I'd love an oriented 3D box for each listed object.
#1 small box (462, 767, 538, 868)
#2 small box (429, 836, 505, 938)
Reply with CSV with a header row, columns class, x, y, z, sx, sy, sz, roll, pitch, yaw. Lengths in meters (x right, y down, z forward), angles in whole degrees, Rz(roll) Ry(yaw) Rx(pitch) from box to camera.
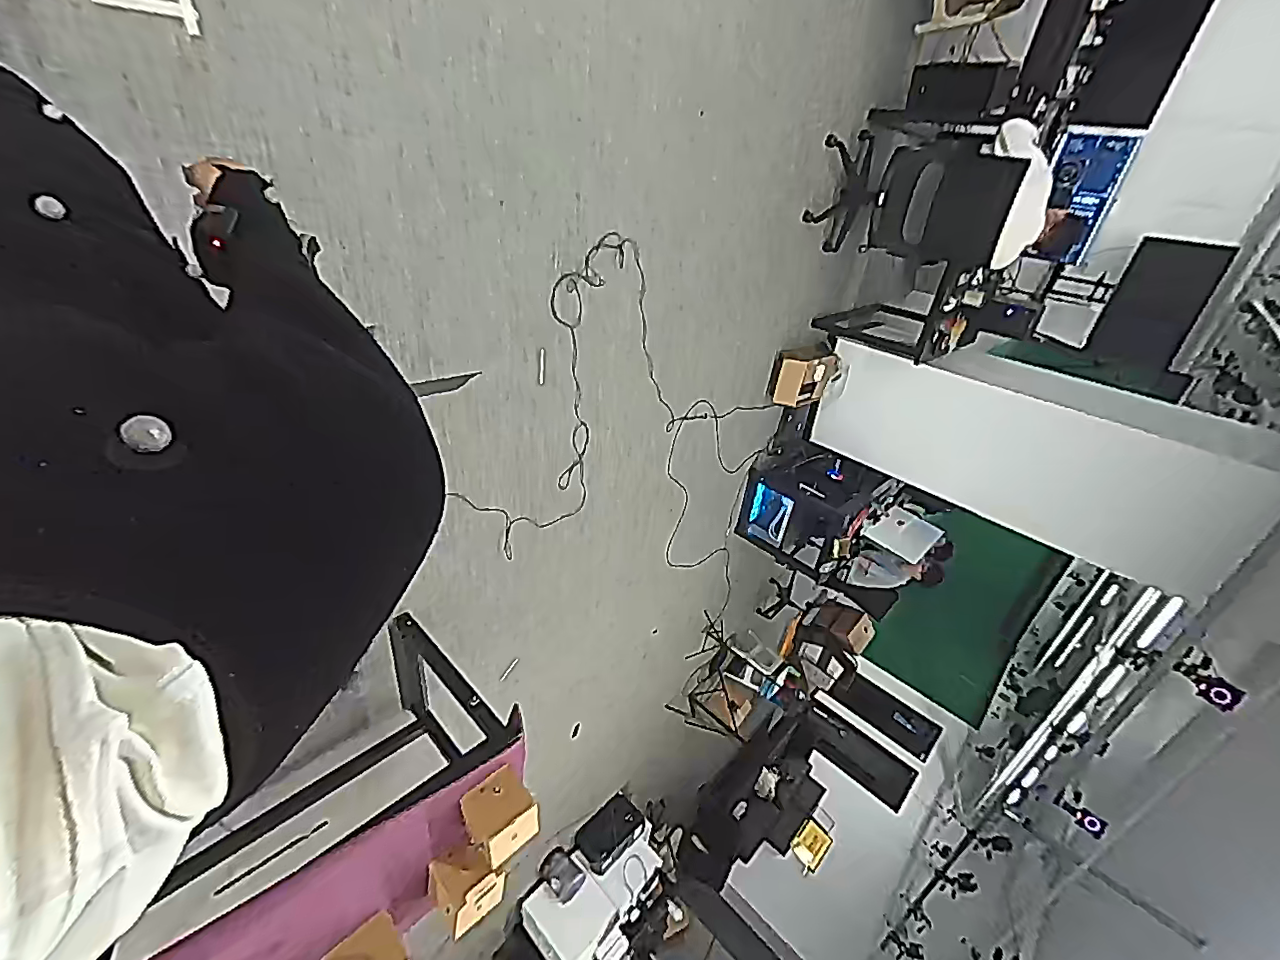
class,x,y,z,sx,sy,sz,roll,pitch,yaw
small box,-0.434,1.037,1.676,0.168,0.176,0.179,-25,133,-38
small box,-0.550,1.270,1.708,0.168,0.176,0.179,-16,127,-45
